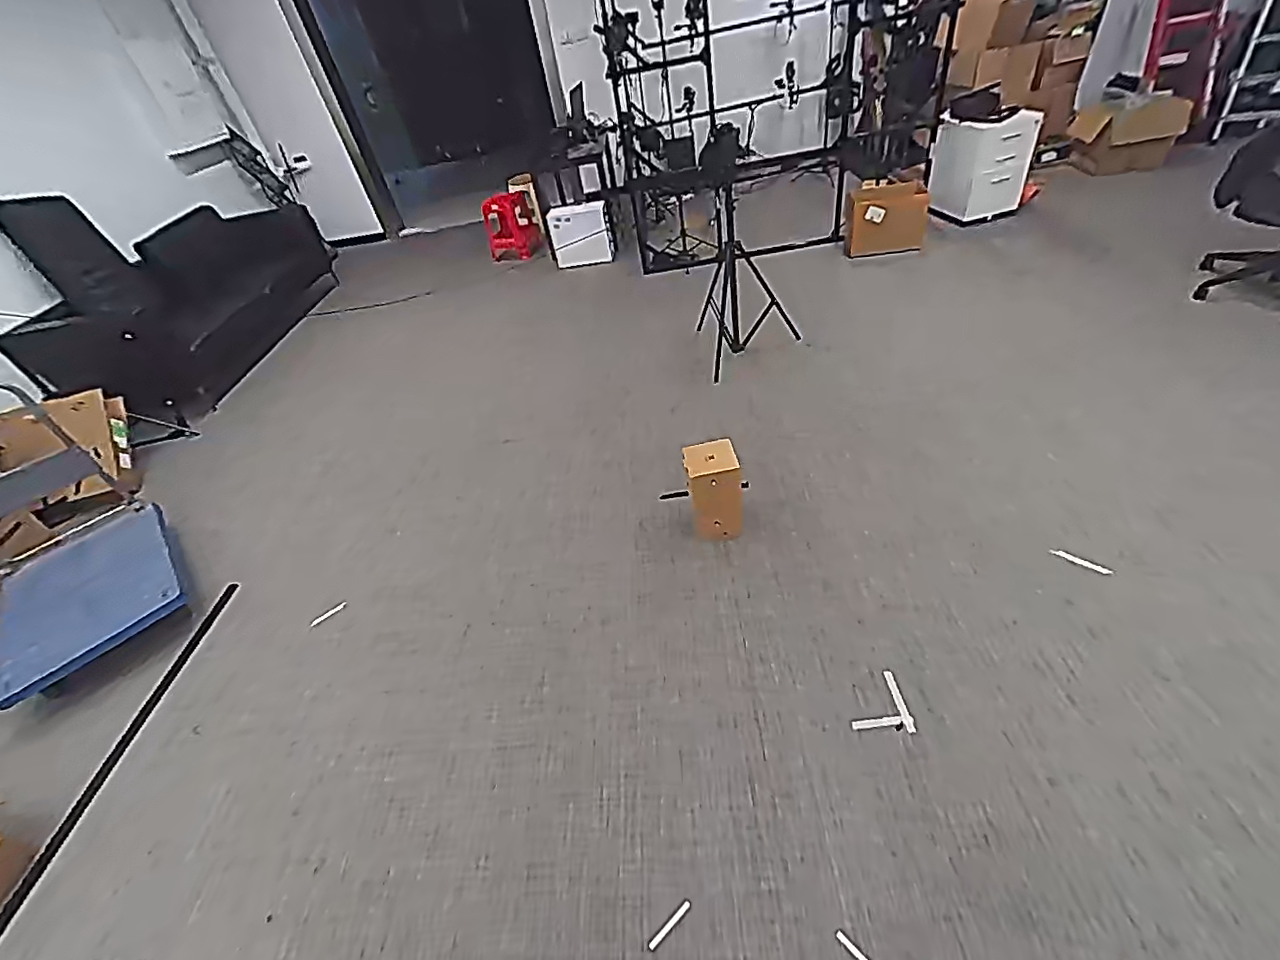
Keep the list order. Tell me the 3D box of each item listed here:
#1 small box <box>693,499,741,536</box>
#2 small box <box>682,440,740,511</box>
[{"bbox_3d":[0.287,0.098,2.028,0.168,0.176,0.179,-6,41,8],"label":"small box"},{"bbox_3d":[0.254,-0.015,1.915,0.179,0.176,0.168,-12,41,2],"label":"small box"}]
